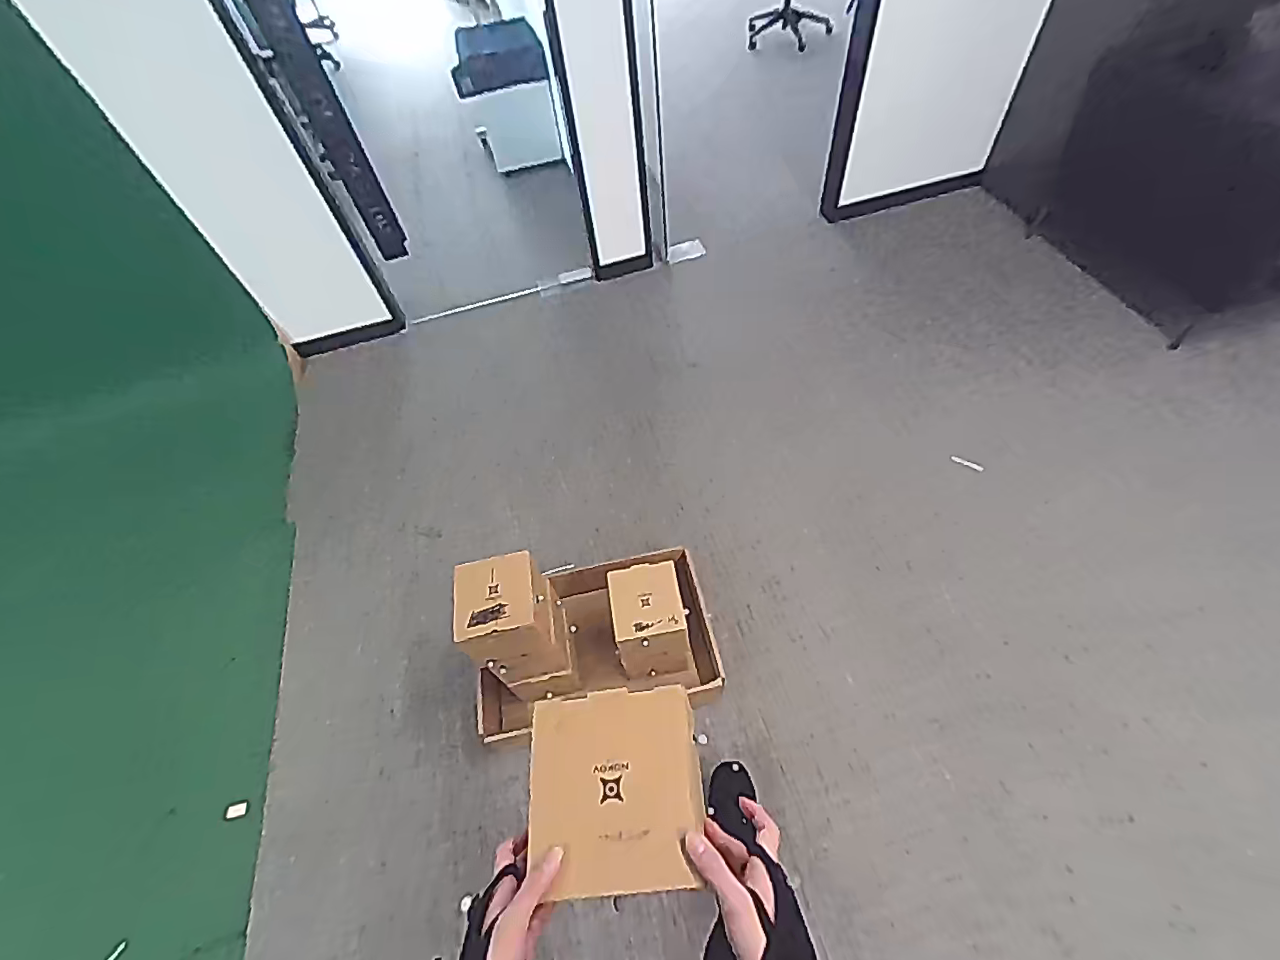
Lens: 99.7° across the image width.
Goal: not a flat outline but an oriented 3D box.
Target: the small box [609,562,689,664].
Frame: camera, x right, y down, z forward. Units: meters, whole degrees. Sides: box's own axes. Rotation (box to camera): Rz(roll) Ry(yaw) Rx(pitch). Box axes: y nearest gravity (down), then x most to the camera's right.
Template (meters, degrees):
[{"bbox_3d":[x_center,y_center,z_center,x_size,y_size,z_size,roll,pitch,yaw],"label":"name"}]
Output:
[{"bbox_3d":[0.023,0.327,1.316,0.168,0.176,0.179,-10,54,0],"label":"small box"}]

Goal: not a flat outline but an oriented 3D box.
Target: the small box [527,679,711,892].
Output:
[{"bbox_3d":[-0.016,0.338,0.593,0.168,0.176,0.179,-8,54,4],"label":"small box"}]

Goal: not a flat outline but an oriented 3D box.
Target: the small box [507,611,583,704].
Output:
[{"bbox_3d":[-0.253,0.476,1.445,0.168,0.176,0.179,-12,53,-2],"label":"small box"}]

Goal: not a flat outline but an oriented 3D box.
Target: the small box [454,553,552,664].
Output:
[{"bbox_3d":[-0.294,0.287,1.181,0.168,0.176,0.179,-12,52,-2],"label":"small box"}]

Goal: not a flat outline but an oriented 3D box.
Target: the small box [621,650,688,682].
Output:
[{"bbox_3d":[0.032,0.421,1.451,0.168,0.176,0.179,-12,55,-1],"label":"small box"}]
